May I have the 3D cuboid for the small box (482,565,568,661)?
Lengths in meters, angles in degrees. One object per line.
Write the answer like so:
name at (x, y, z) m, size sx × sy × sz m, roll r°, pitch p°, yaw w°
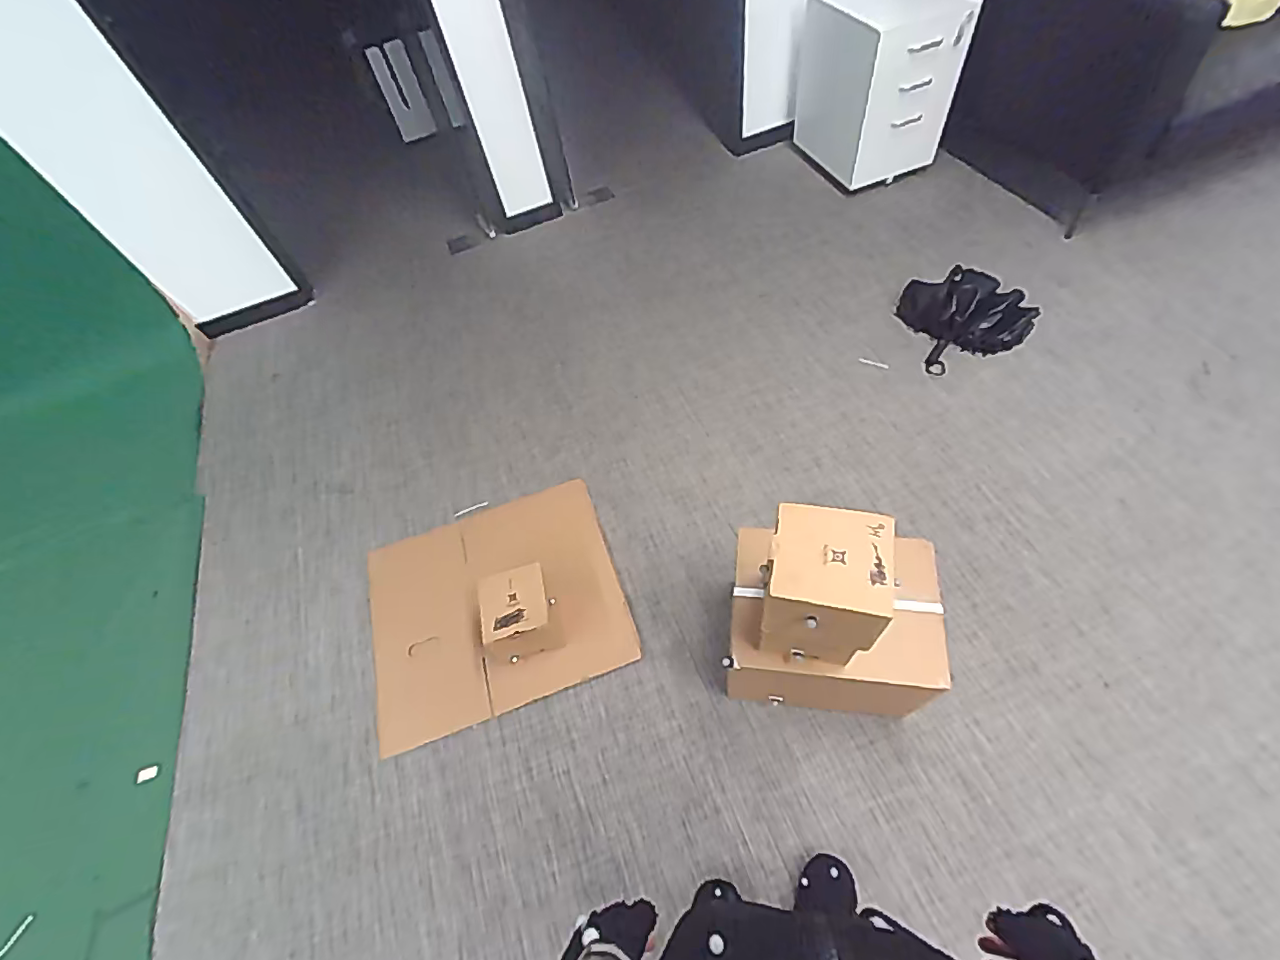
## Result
small box at (-0.294, 0.352, 1.399) m, size 0.168 × 0.176 × 0.179 m, roll -16°, pitch 54°, yaw -1°

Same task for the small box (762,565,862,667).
small box at (0.322, 0.237, 1.026) m, size 0.168 × 0.176 × 0.179 m, roll 4°, pitch 59°, yaw 13°

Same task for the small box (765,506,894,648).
small box at (0.300, 0.162, 0.884) m, size 0.179 × 0.176 × 0.168 m, roll 5°, pitch 56°, yaw 13°
